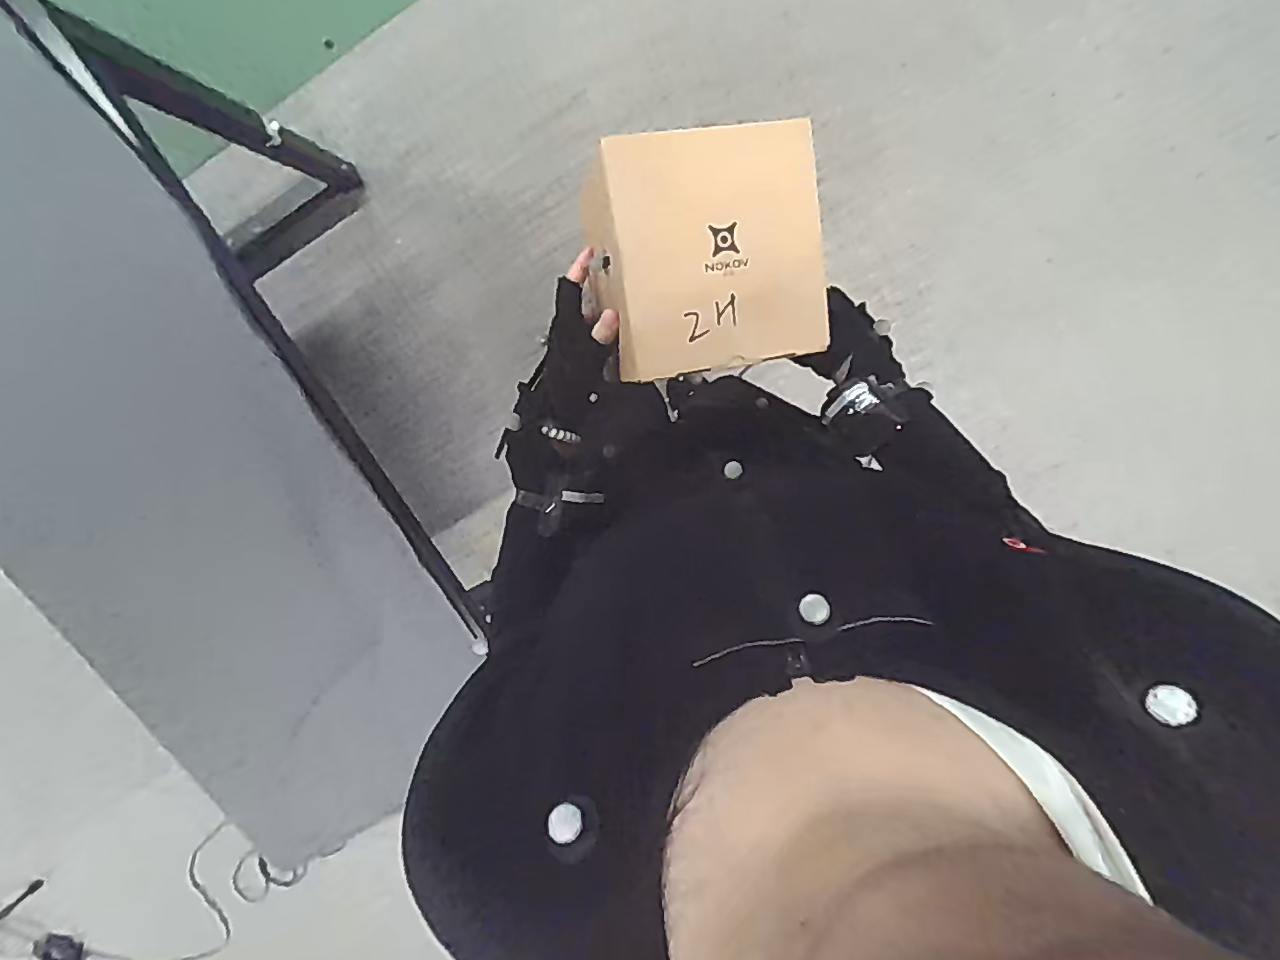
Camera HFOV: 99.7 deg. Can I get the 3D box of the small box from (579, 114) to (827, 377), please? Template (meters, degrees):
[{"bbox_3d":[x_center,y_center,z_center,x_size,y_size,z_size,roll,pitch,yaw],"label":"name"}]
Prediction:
[{"bbox_3d":[0.045,-0.191,0.487,0.168,0.176,0.179,-11,103,-10],"label":"small box"}]
